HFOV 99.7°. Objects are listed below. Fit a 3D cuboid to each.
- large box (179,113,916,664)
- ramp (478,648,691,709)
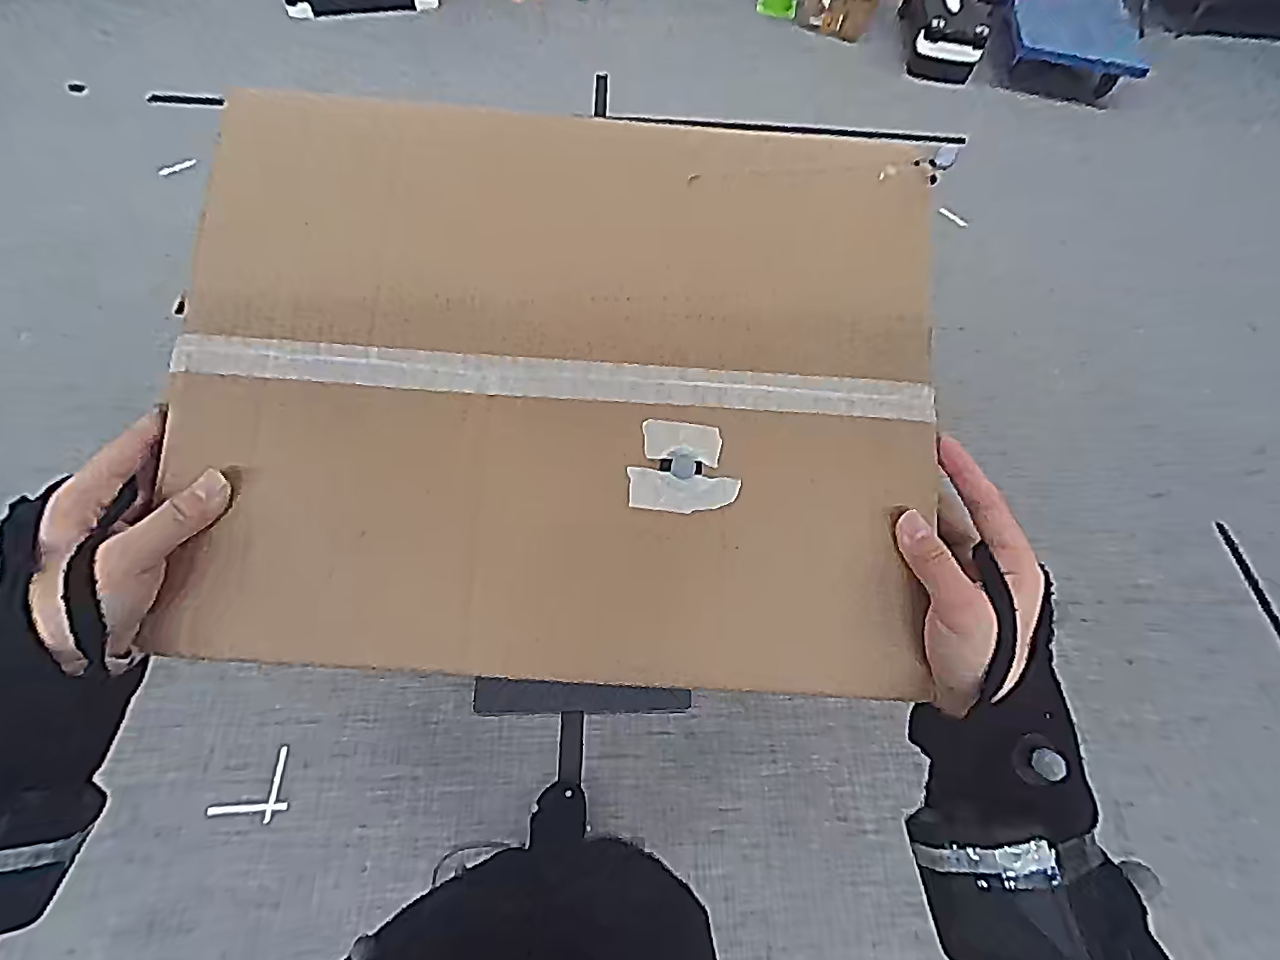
[{"bbox_3d":[-0.045,-0.041,0.458,0.408,0.320,0.320,4,83,-2],"label":"large box"},{"bbox_3d":[-0.122,0.038,1.368,0.509,0.206,0.991,0,63,-5],"label":"ramp"}]
